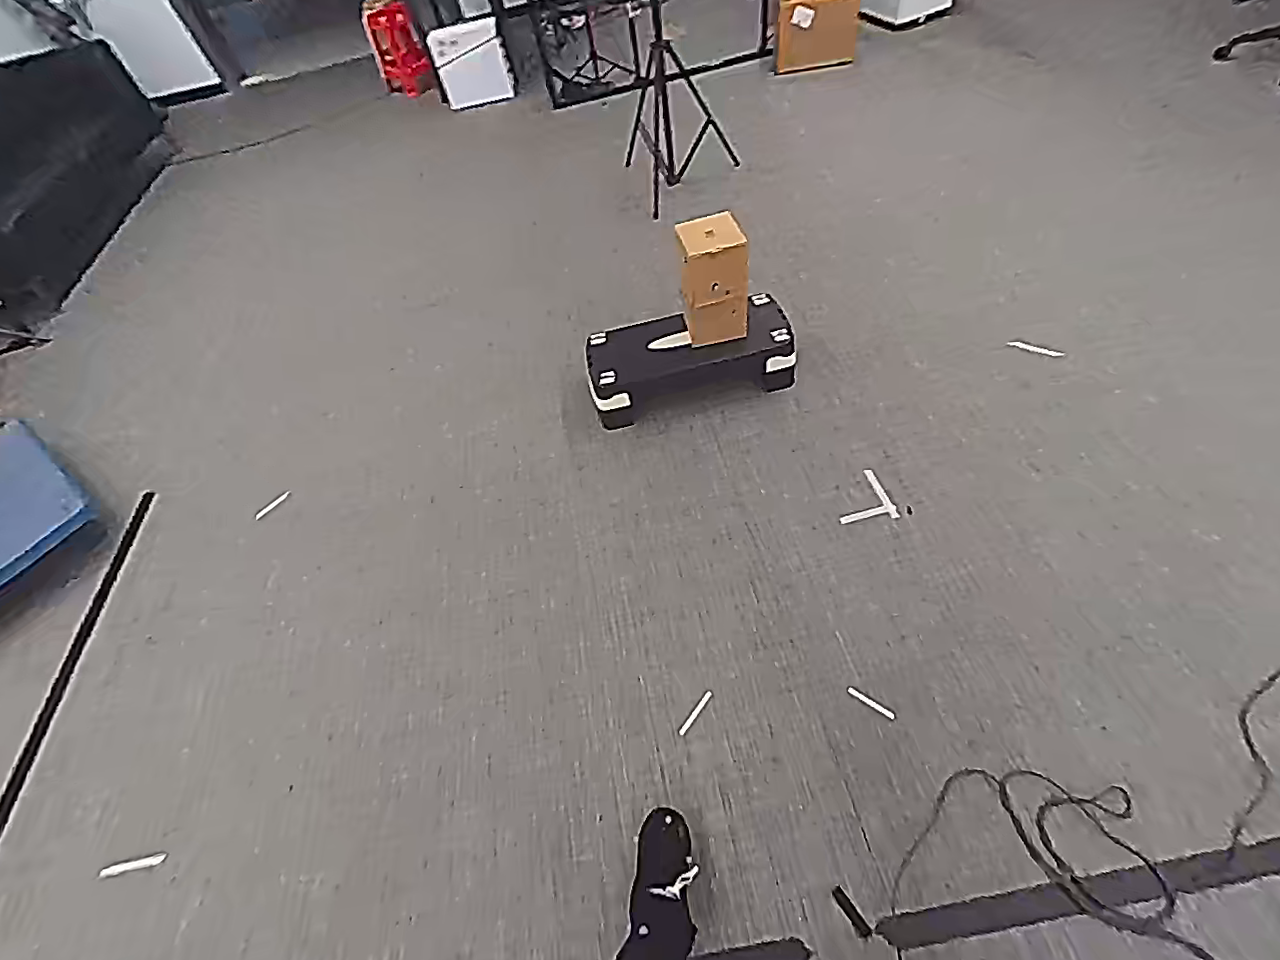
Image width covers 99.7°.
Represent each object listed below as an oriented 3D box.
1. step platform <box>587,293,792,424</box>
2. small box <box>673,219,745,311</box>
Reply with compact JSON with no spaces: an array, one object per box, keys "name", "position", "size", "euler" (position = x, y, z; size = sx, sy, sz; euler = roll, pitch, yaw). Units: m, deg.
[{"name":"step platform","position":[0.163,-0.420,1.856],"size":[0.684,0.204,0.286],"euler":[-14,52,1]},{"name":"small box","position":[0.199,-0.626,1.579],"size":[0.168,0.176,0.179],"euler":[-15,54,-2]}]
